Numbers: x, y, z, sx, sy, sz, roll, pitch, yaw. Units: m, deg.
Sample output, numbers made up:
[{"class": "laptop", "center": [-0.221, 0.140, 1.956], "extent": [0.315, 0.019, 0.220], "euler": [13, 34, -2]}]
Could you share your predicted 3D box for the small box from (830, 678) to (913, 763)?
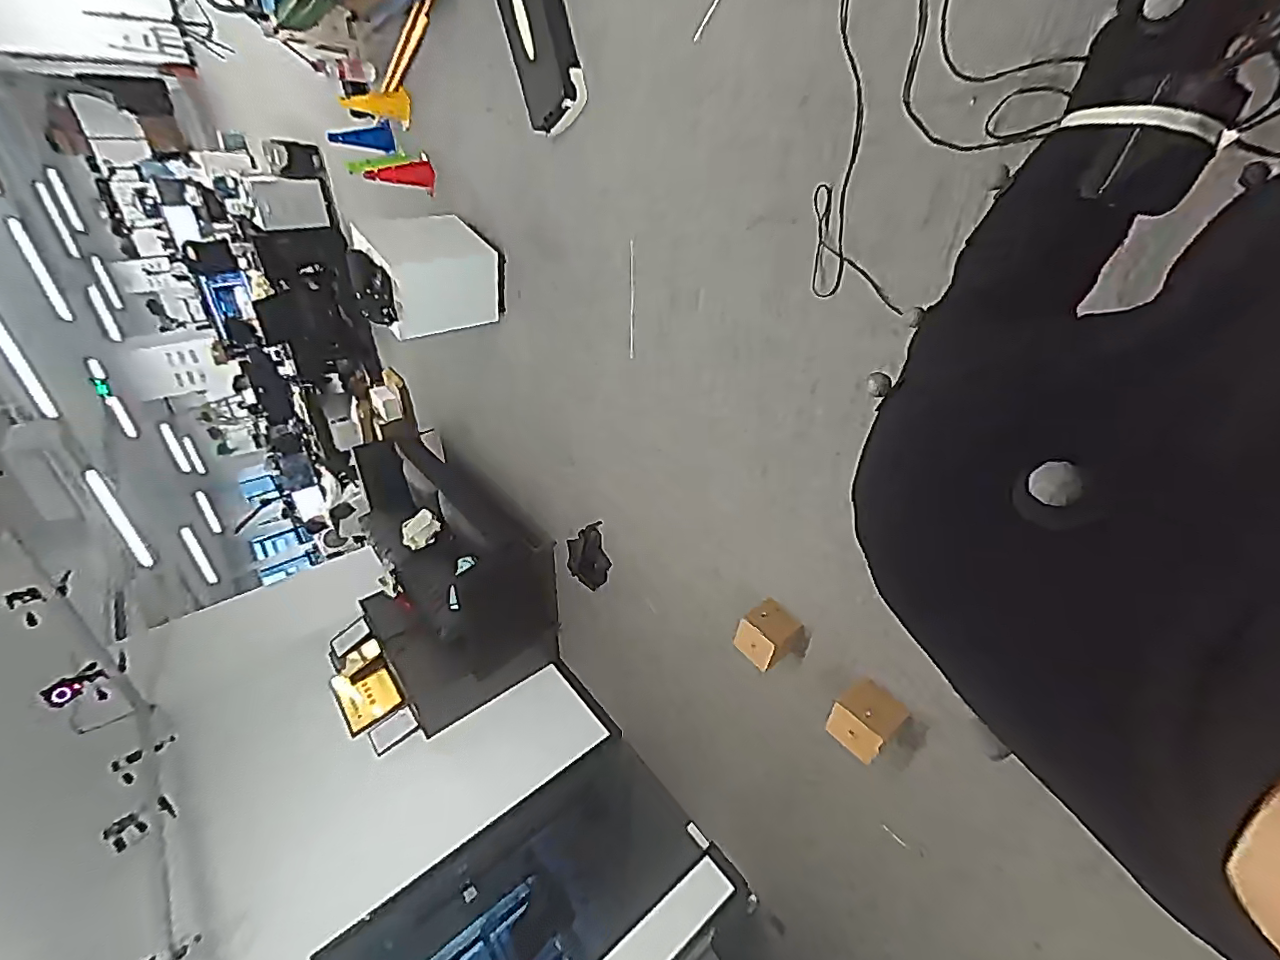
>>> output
[{"class": "small box", "center": [0.776, 0.797, 1.818], "extent": [0.179, 0.176, 0.168], "euler": [35, 136, 39]}]

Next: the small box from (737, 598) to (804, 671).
[{"class": "small box", "center": [0.503, 0.586, 2.076], "extent": [0.168, 0.176, 0.179], "euler": [40, 140, 37]}]
